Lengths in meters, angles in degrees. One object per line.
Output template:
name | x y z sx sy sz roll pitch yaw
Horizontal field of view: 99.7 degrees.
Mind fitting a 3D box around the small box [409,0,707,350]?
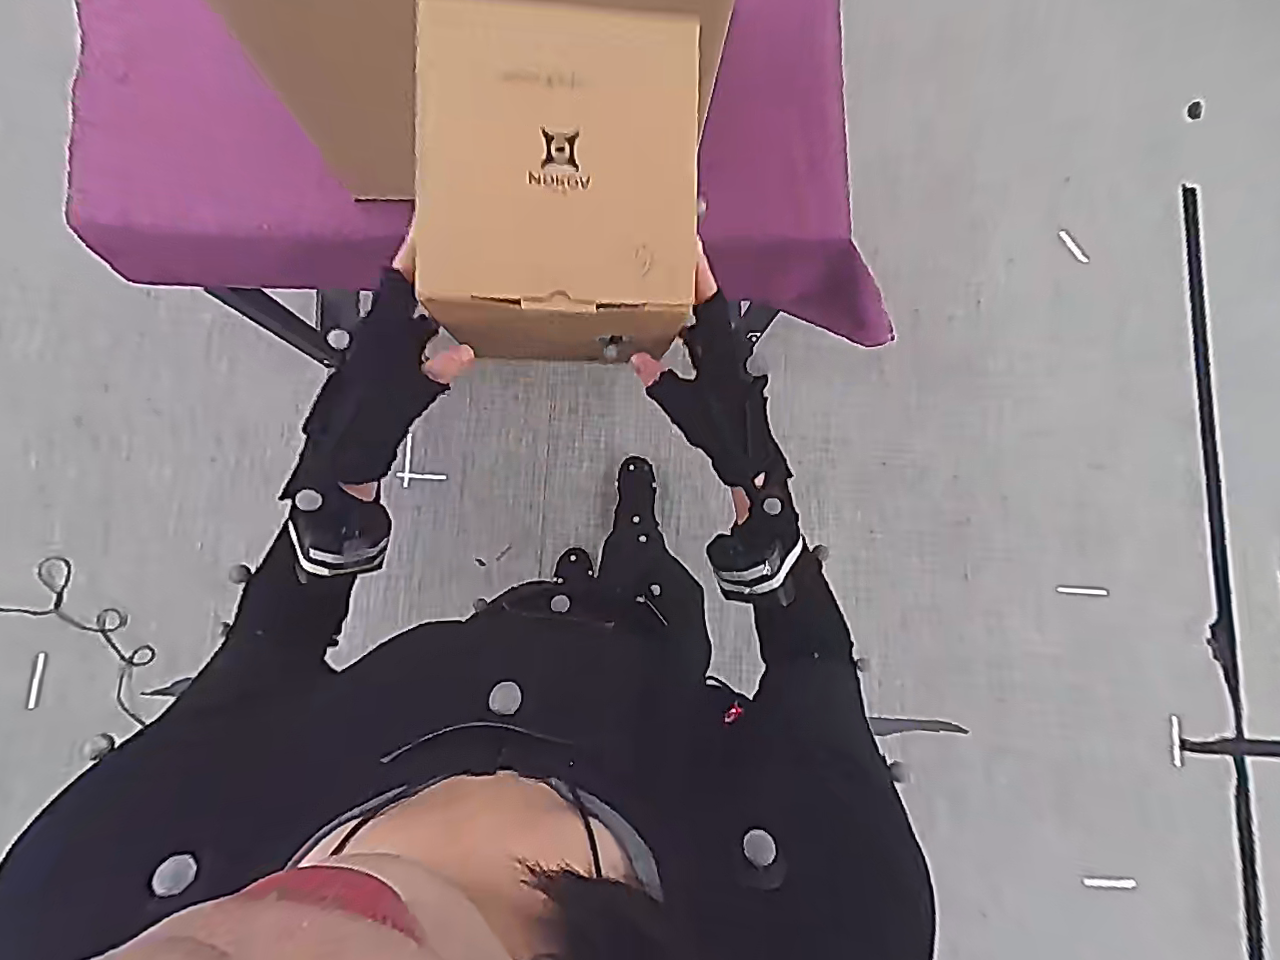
small box | -0.053 -0.195 0.383 0.168 0.176 0.179 0 90 -7
